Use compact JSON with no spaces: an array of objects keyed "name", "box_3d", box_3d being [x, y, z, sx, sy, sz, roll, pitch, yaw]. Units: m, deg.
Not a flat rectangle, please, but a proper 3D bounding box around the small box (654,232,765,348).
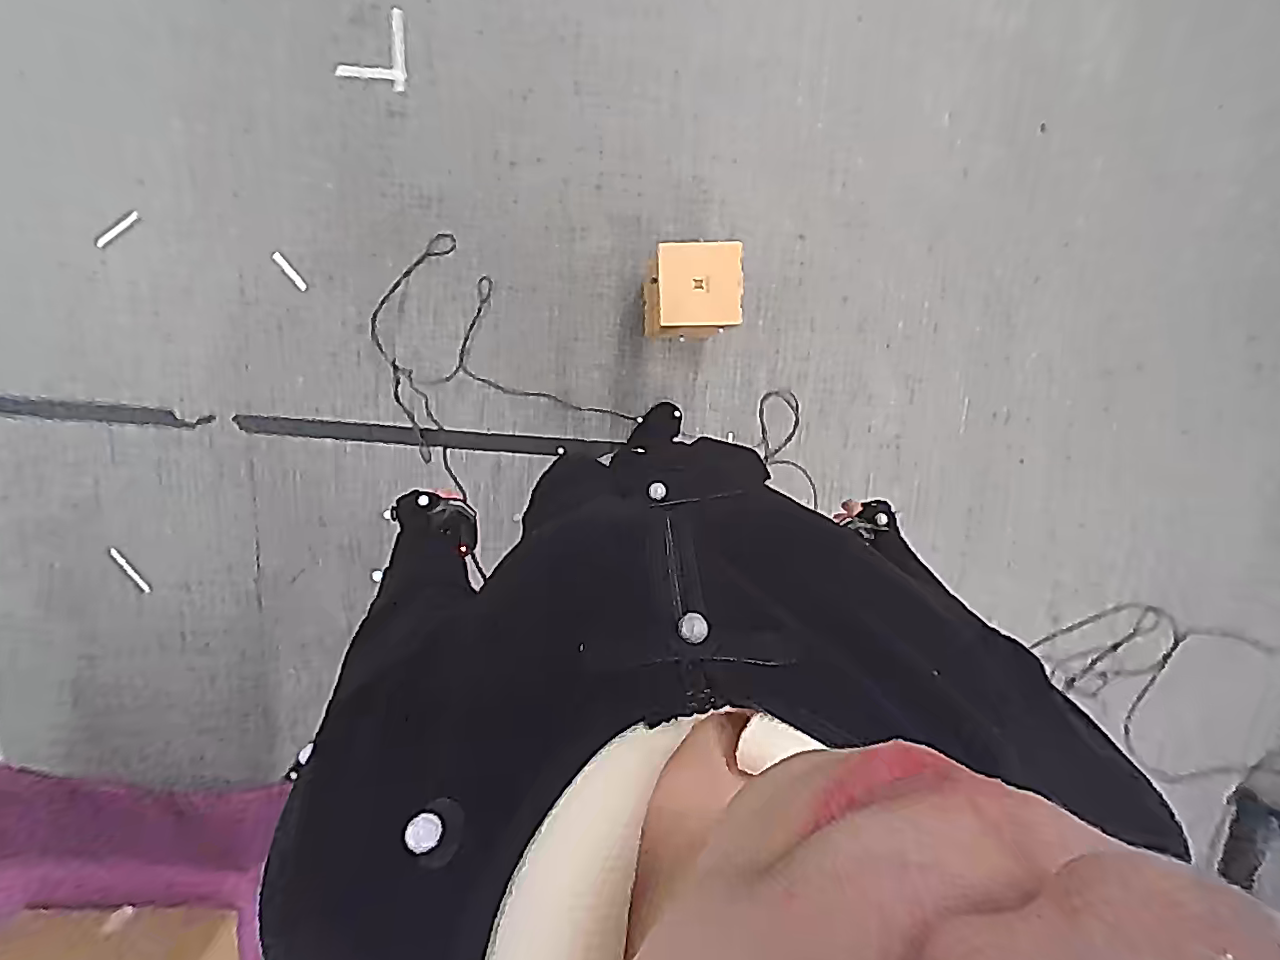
[{"name":"small box","box_3d":[0.146,-0.398,1.152,0.168,0.176,0.179,-6,82,-22]}]
